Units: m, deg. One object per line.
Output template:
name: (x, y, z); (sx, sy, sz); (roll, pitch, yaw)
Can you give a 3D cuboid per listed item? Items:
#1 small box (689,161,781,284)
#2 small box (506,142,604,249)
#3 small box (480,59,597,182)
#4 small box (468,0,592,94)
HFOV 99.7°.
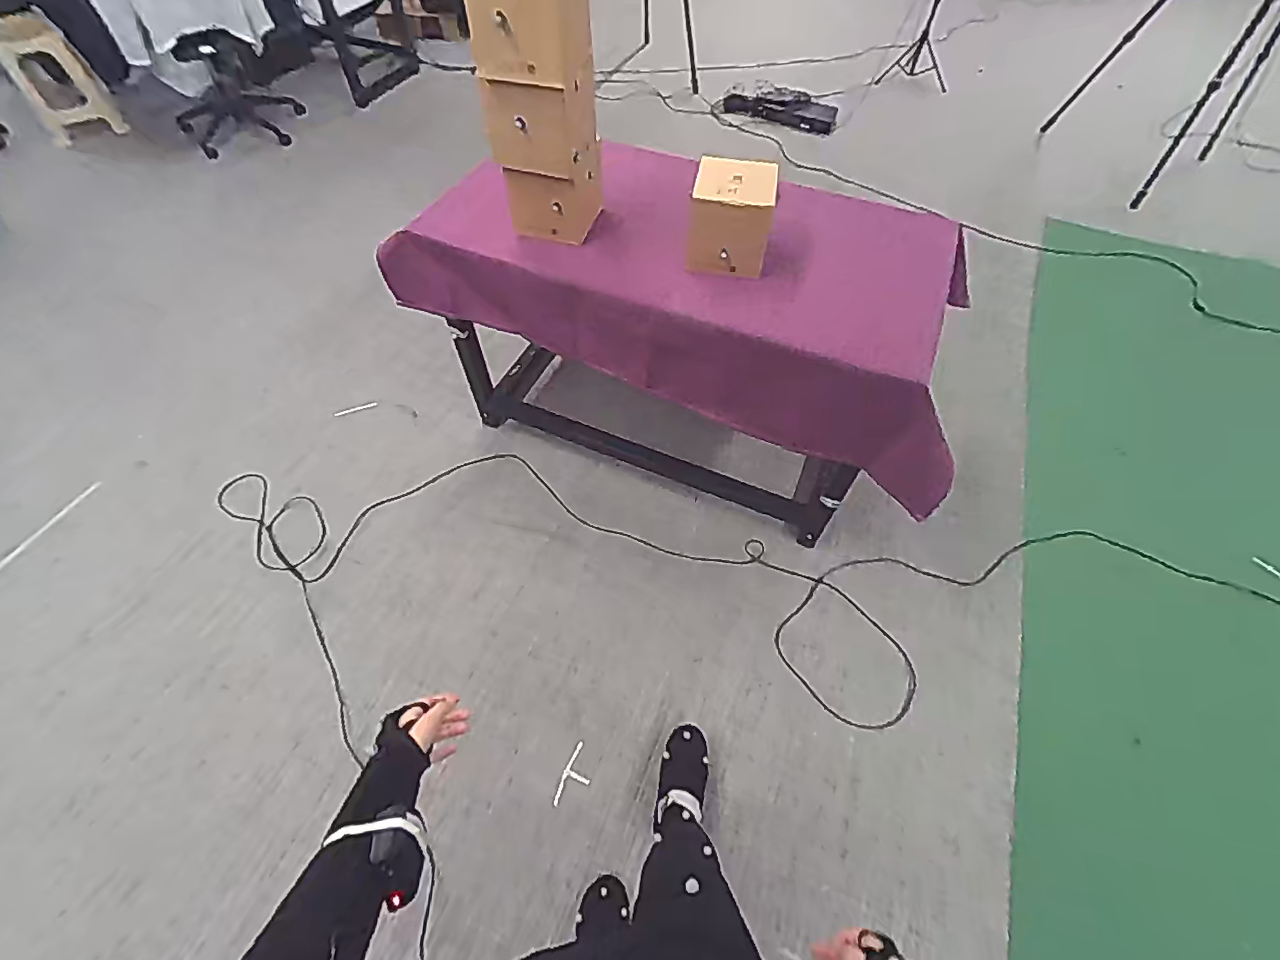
small box: (0.202, -0.557, 1.175); (0.168, 0.176, 0.179); (10, 56, 6)
small box: (-0.183, -0.662, 1.244); (0.168, 0.176, 0.179); (15, 56, 8)
small box: (-0.193, -0.734, 1.095); (0.179, 0.176, 0.168); (15, 57, 9)
small box: (-0.186, -0.813, 0.953); (0.168, 0.176, 0.179); (12, 56, 6)
